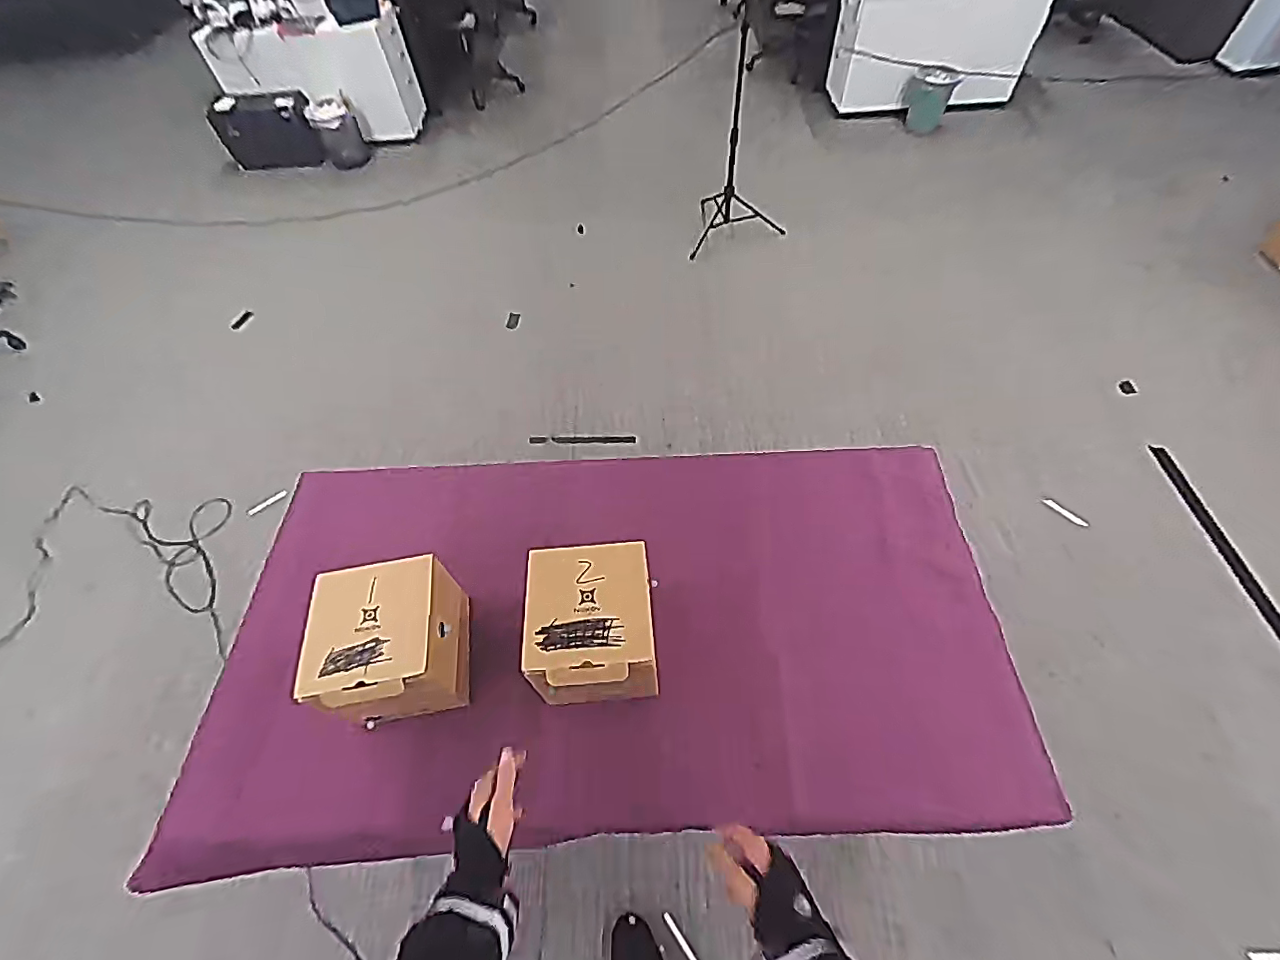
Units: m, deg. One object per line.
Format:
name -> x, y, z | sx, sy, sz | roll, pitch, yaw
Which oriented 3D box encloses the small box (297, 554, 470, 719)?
small box -> -0.351, 0.232, 0.779 | 0.168, 0.176, 0.179 | -10, 55, -3
